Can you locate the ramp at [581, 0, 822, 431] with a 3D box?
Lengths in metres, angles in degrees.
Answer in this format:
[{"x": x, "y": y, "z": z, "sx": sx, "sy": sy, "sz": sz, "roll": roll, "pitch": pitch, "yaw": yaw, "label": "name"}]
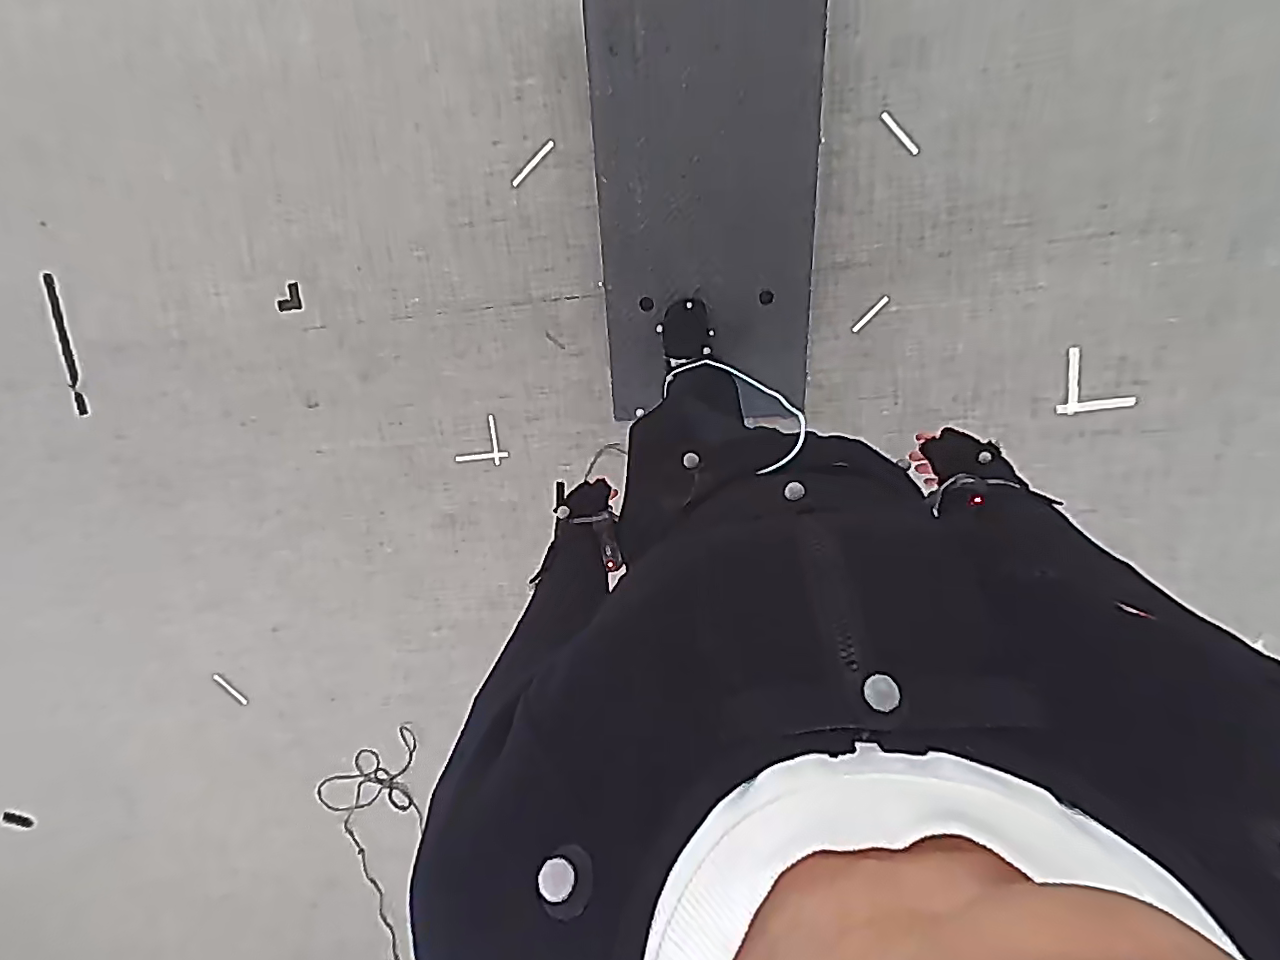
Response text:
[{"x": 0.157, "y": -0.606, "z": 1.246, "sx": 0.509, "sy": 0.206, "sz": 0.991, "roll": -4, "pitch": 101, "yaw": 7, "label": "ramp"}]
